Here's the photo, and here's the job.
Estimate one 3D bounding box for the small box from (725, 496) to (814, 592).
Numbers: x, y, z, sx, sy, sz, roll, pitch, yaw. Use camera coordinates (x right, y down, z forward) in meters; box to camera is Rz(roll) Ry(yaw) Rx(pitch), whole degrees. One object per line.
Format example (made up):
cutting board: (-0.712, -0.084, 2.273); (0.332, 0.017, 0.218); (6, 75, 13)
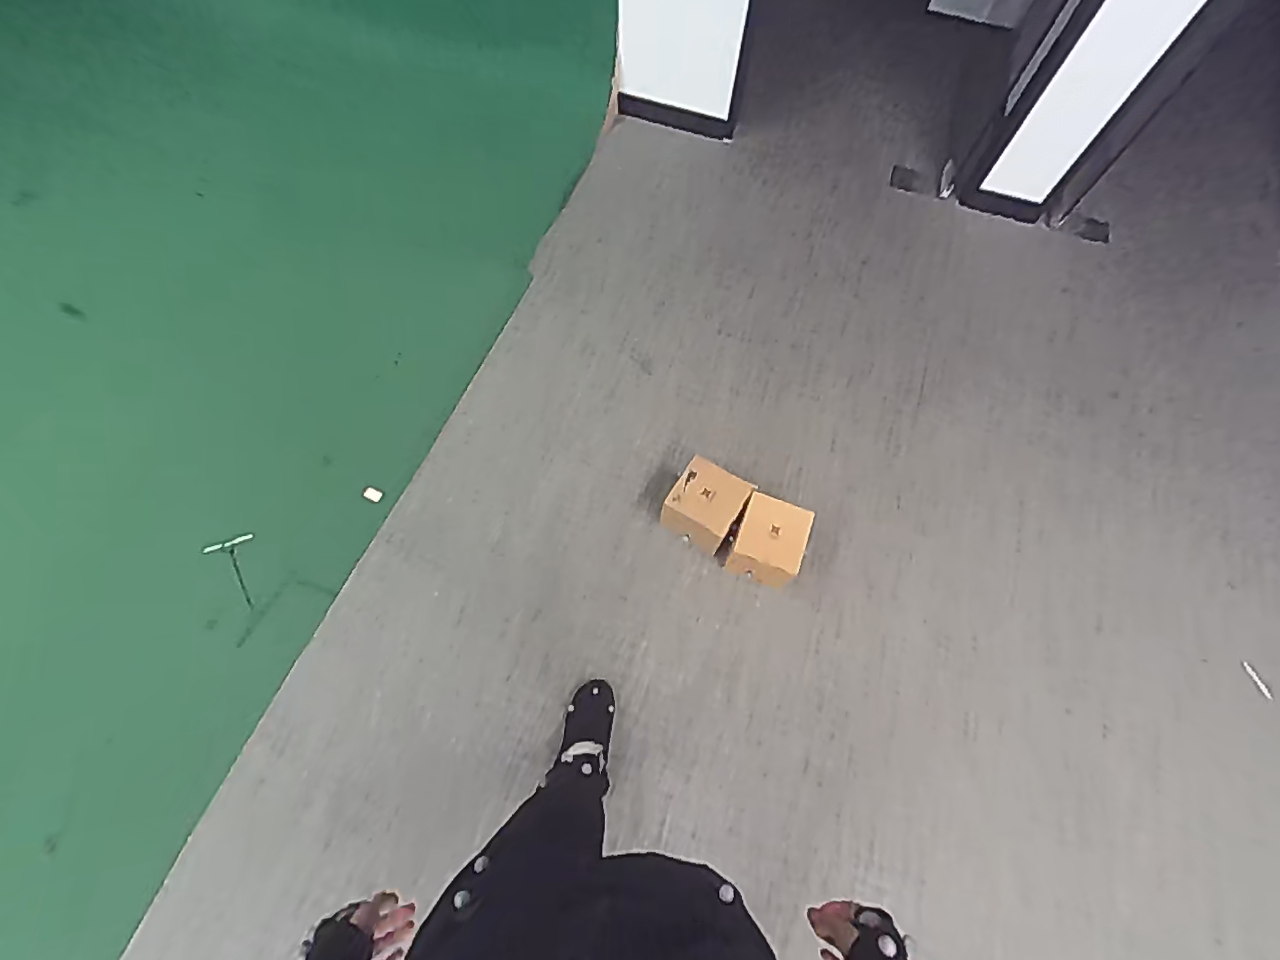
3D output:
small box: (0.331, 0.172, 1.411); (0.168, 0.176, 0.179); (20, 68, 7)
